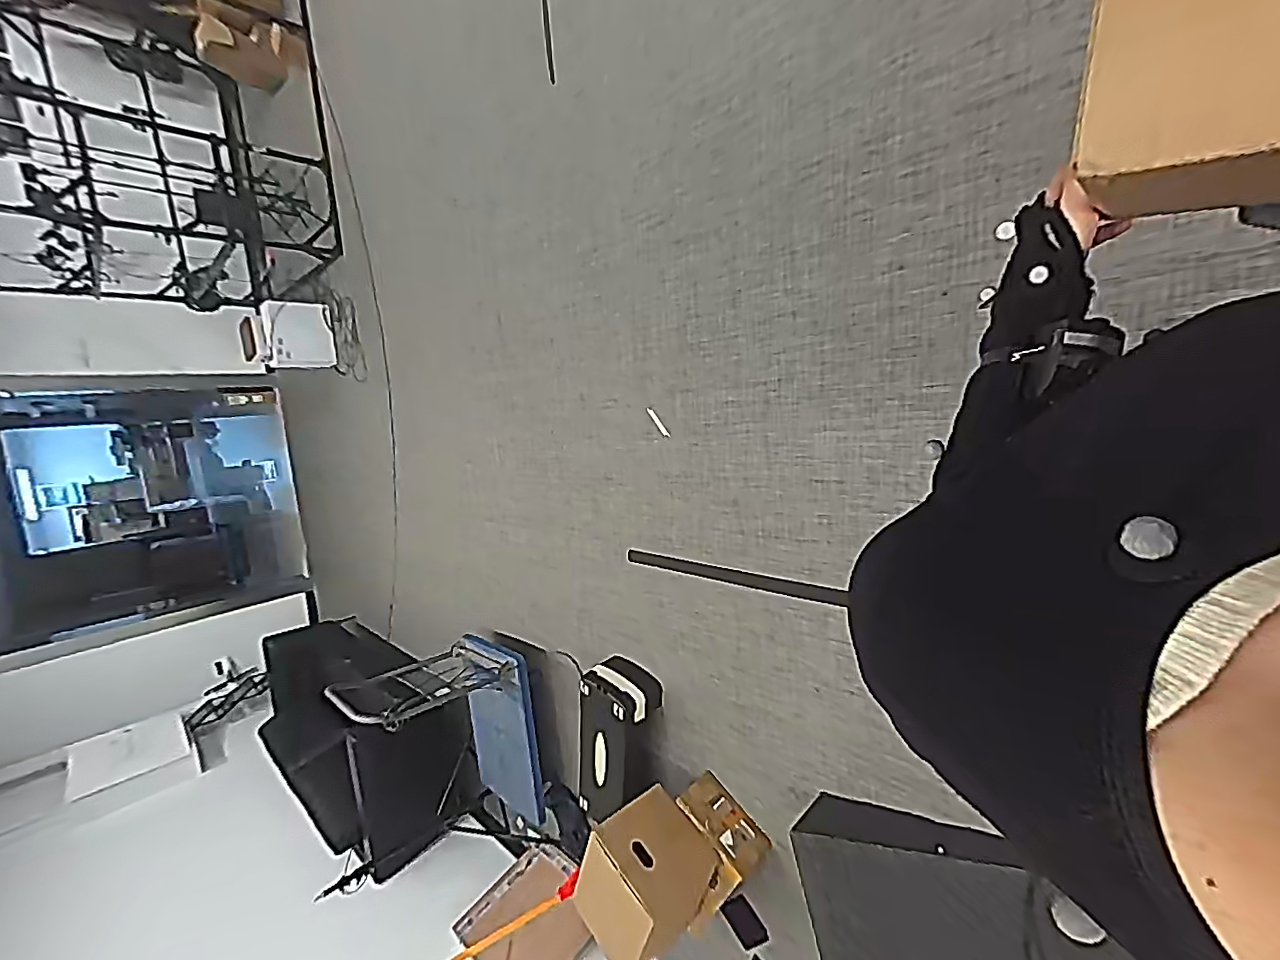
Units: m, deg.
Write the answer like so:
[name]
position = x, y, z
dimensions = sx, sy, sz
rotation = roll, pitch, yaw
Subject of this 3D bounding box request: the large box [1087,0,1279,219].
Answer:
[large box]
position = 0.435, -0.301, 0.188
dimensions = 0.408, 0.320, 0.320
rotation = 10, 114, 38
